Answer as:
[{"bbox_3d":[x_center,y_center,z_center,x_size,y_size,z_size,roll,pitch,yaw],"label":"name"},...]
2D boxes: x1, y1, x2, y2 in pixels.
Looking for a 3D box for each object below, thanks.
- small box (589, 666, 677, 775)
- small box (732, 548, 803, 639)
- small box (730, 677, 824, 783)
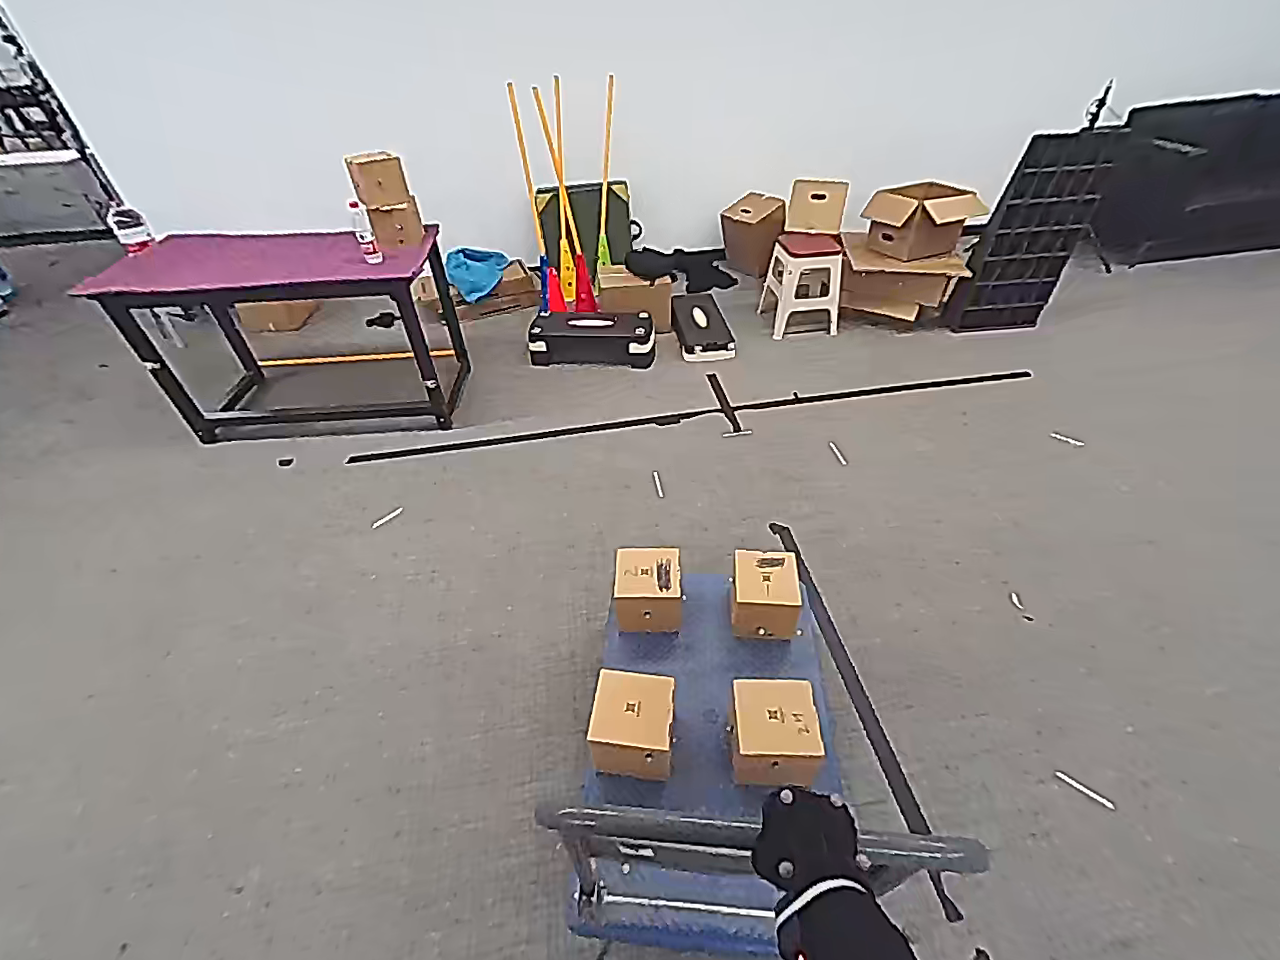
[{"bbox_3d":[-0.011,0.553,1.239,0.179,0.176,0.168,5,42,6],"label":"small box"},{"bbox_3d":[0.343,0.311,1.489,0.168,0.176,0.179,3,44,5],"label":"small box"},{"bbox_3d":[0.298,0.563,1.215,0.179,0.176,0.168,1,42,3],"label":"small box"}]
